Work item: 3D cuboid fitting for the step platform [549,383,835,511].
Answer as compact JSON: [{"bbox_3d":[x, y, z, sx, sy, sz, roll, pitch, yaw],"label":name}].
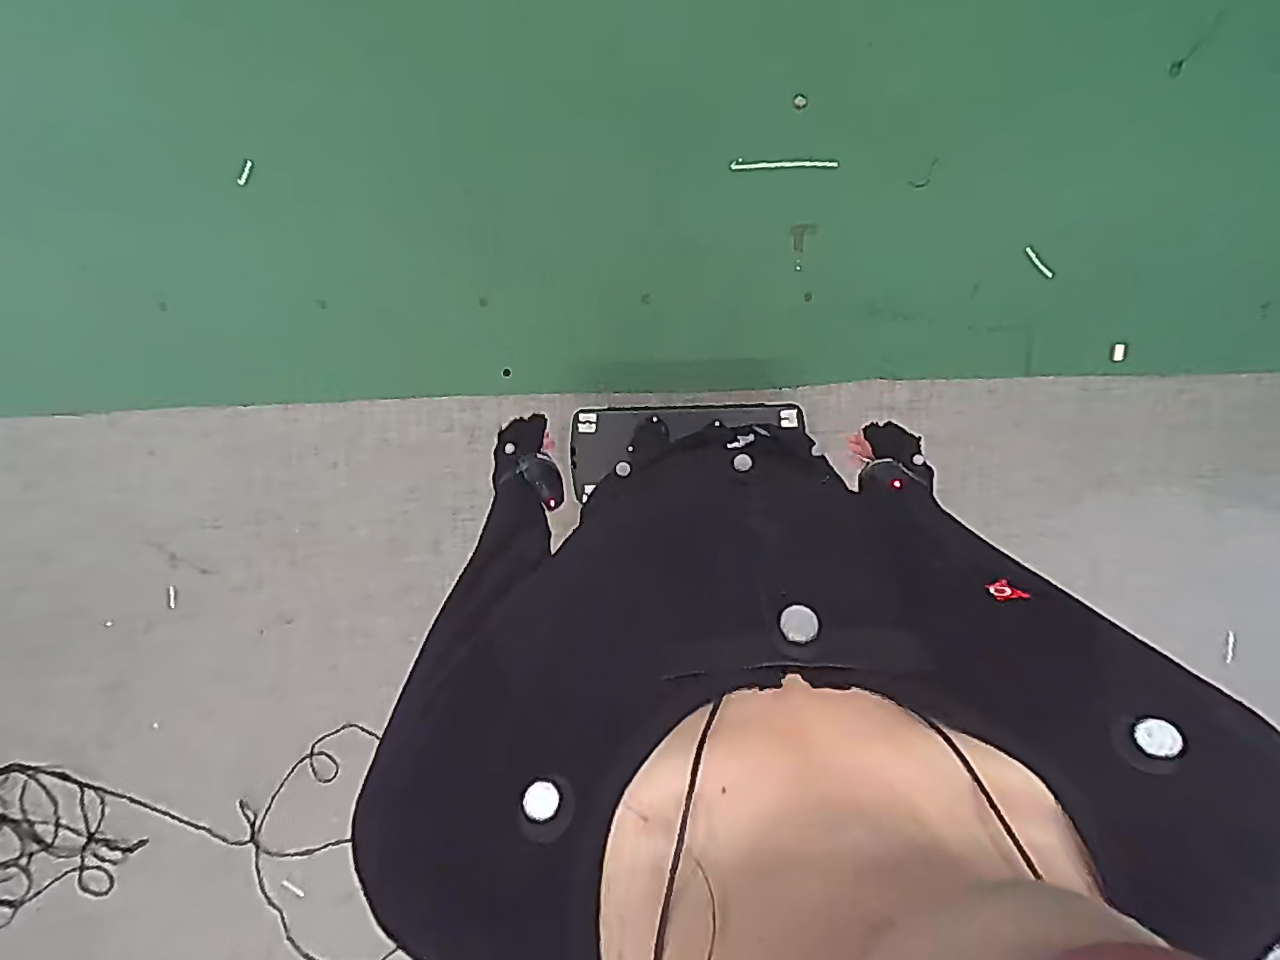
[{"bbox_3d":[0.125,-0.088,1.380,0.684,0.204,0.286,-2,97,2],"label":"step platform"}]
